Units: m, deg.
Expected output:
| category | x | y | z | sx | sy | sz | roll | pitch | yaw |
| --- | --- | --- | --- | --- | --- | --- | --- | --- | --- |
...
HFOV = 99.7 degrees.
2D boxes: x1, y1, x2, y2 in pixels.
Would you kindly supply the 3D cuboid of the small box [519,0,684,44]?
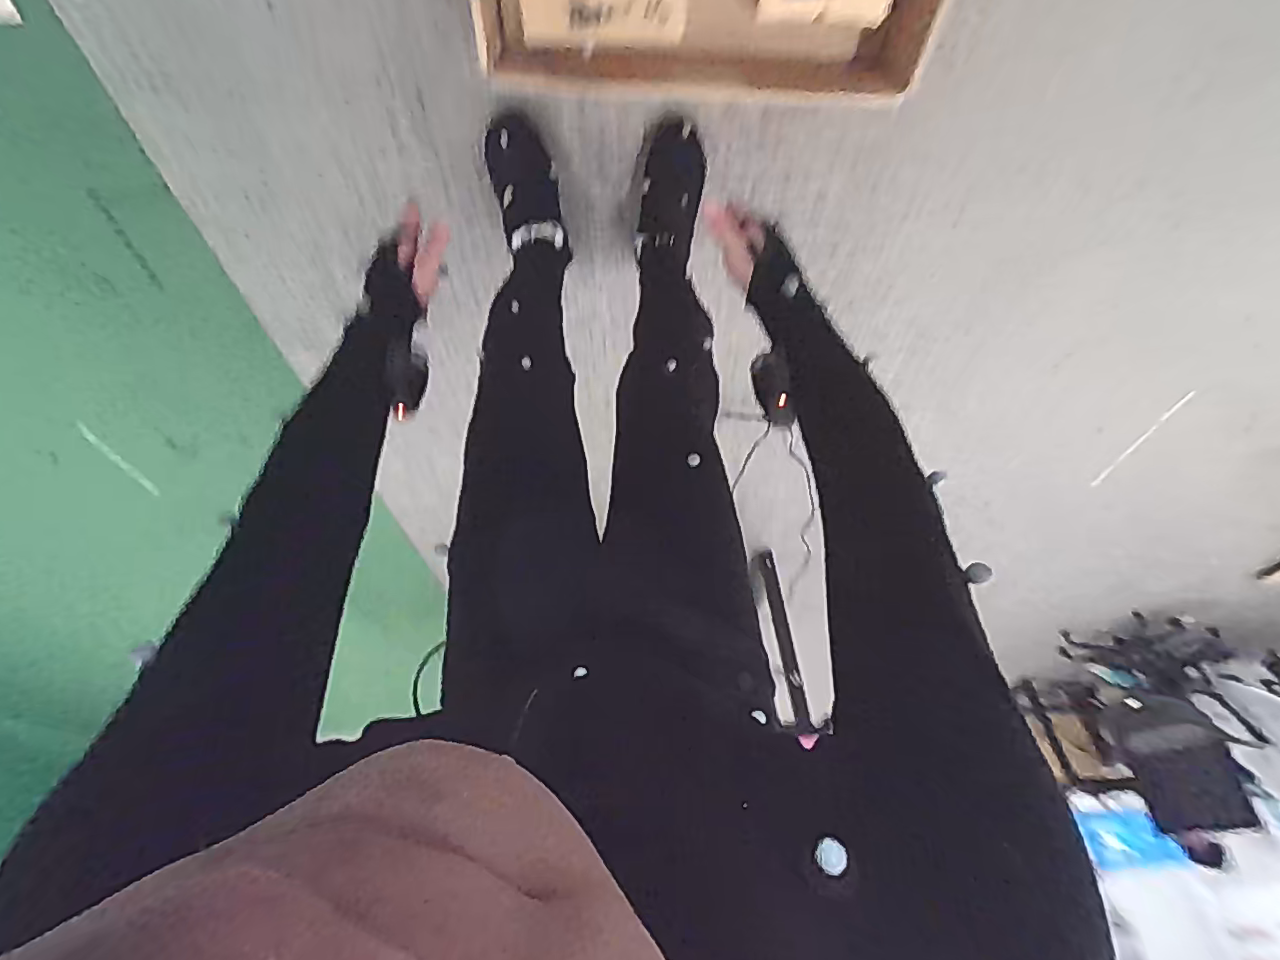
| category | x | y | z | sx | sy | sz | roll | pitch | yaw |
| --- | --- | --- | --- | --- | --- | --- | --- | --- | --- |
| small box | -0.041 | -0.568 | 0.544 | 0.168 | 0.176 | 0.179 | -2 | 140 | -2 |
